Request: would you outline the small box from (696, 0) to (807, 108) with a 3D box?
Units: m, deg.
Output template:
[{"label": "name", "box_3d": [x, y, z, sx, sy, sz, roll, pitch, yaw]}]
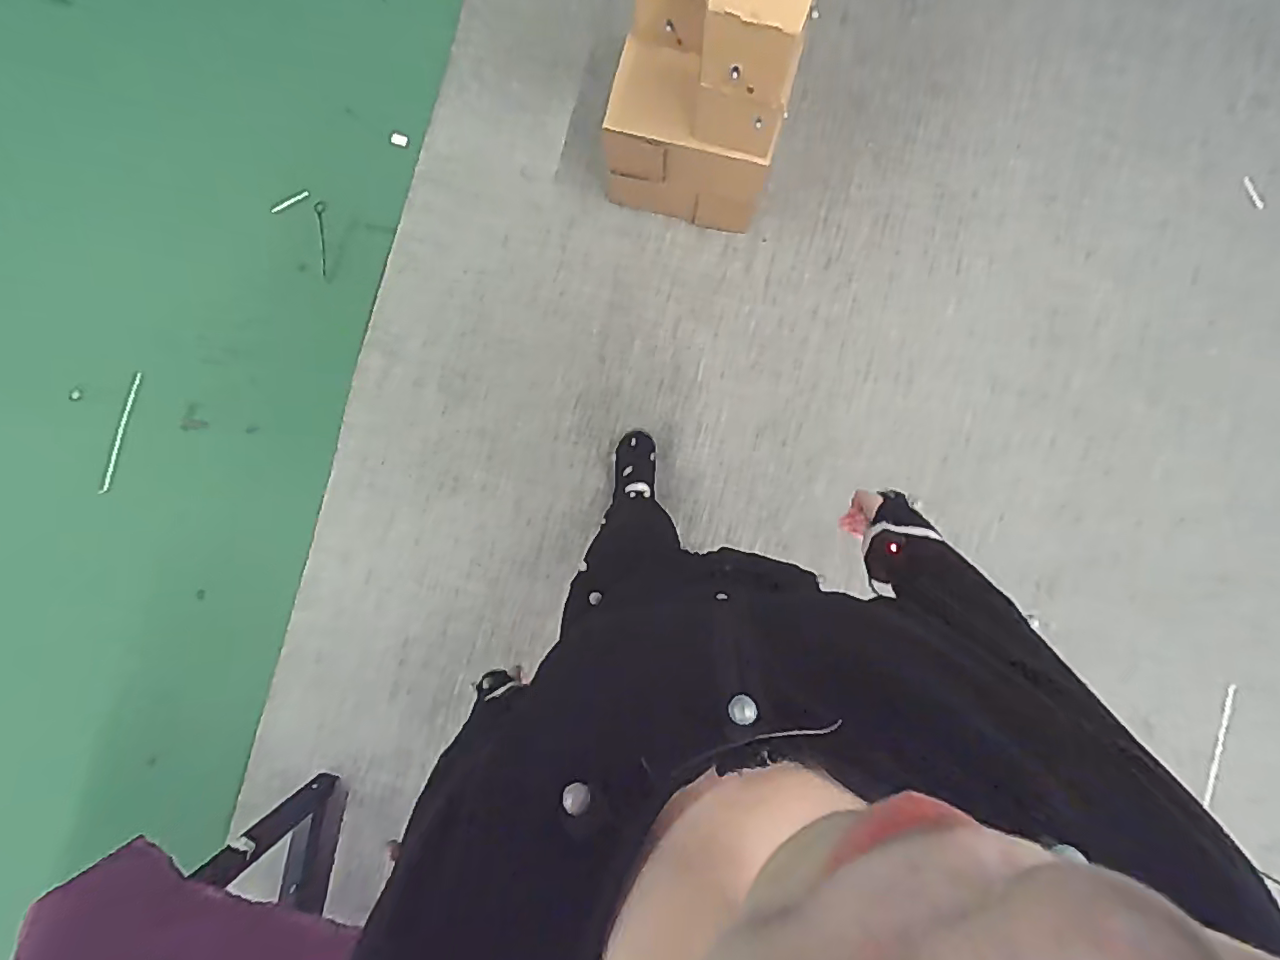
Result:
[{"label": "small box", "box_3d": [0.208, -0.844, 0.995, 0.168, 0.176, 0.179, 18, 86, 3]}]

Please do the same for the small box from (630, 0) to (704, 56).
[{"label": "small box", "box_3d": [0.073, -1.094, 1.187, 0.168, 0.176, 0.179, 15, 84, 4]}]
